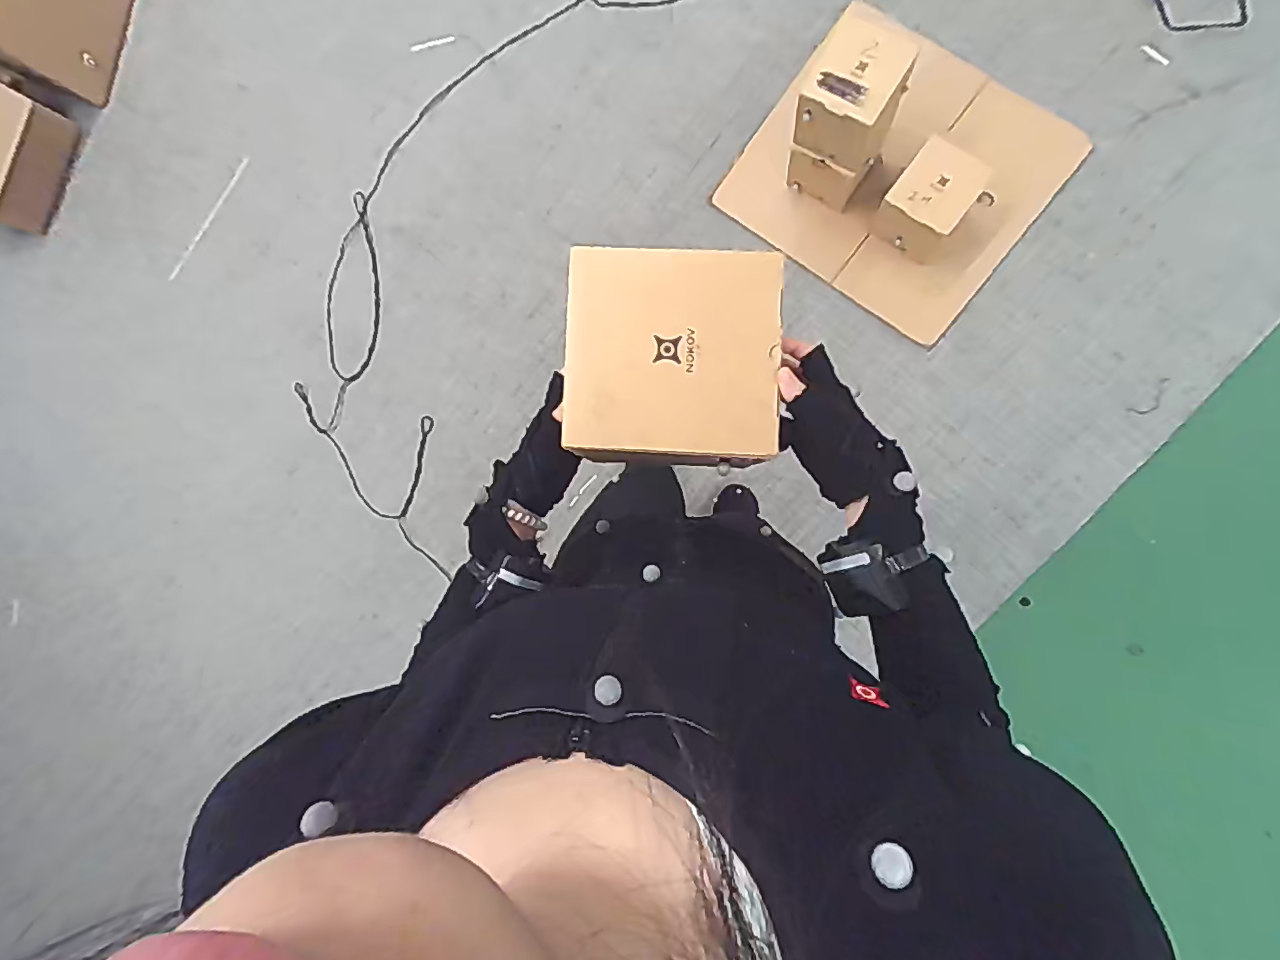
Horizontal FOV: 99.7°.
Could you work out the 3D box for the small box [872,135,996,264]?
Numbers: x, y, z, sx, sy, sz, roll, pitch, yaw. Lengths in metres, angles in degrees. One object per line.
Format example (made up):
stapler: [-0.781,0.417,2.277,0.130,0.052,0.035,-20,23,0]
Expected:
small box: [0.677,-0.649,1.272,0.168,0.176,0.179,38,97,10]

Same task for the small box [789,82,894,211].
small box: [0.476,-0.794,1.308,0.168,0.176,0.179,34,96,9]

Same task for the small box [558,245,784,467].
small box: [0.027,-0.101,0.512,0.179,0.176,0.168,3,88,1]
